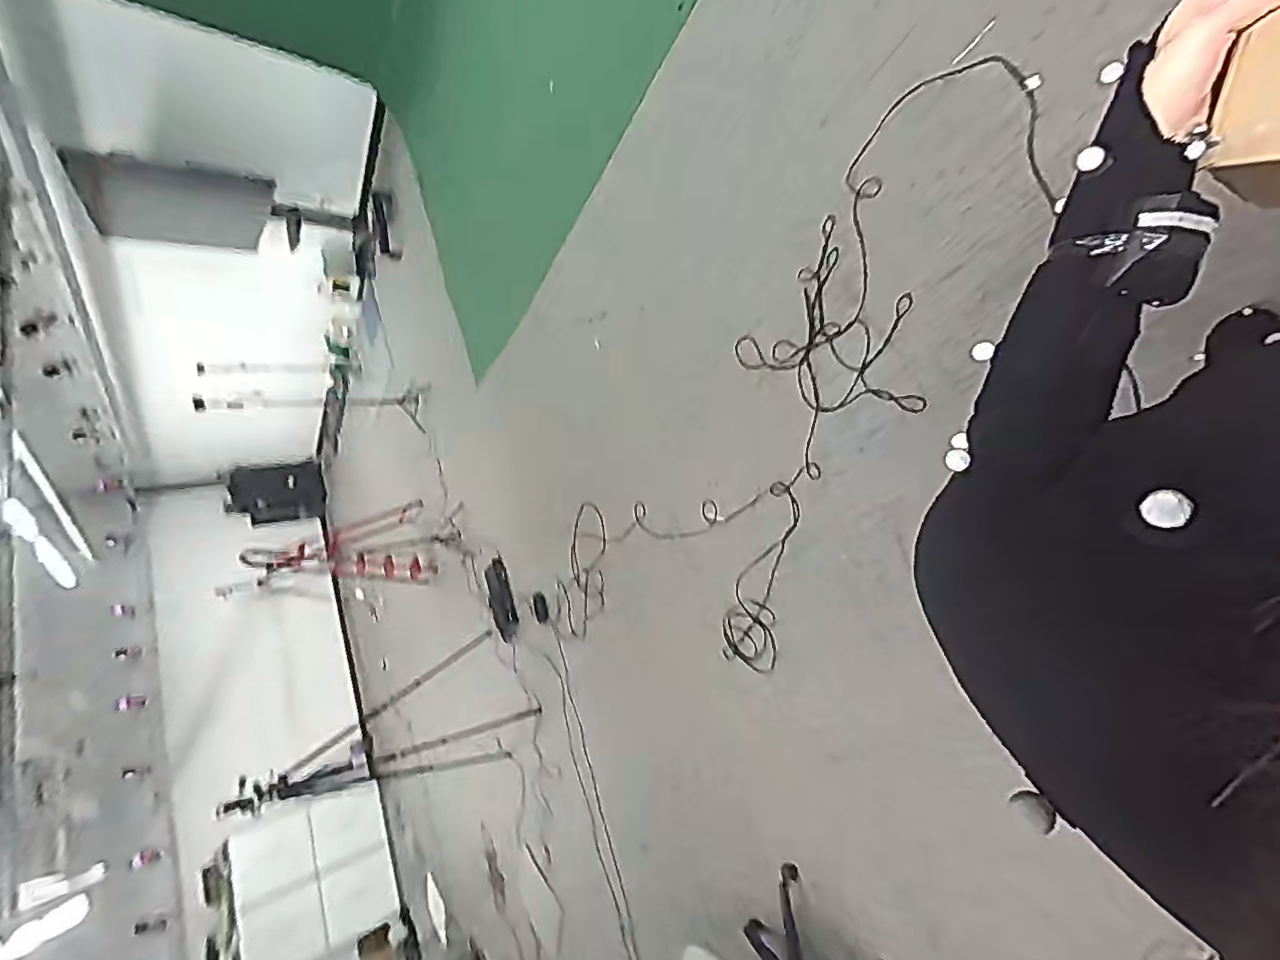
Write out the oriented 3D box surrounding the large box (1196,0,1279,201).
[{"bbox_3d":[0.638,-0.350,0.276,0.408,0.320,0.320,23,119,50],"label":"large box"}]
